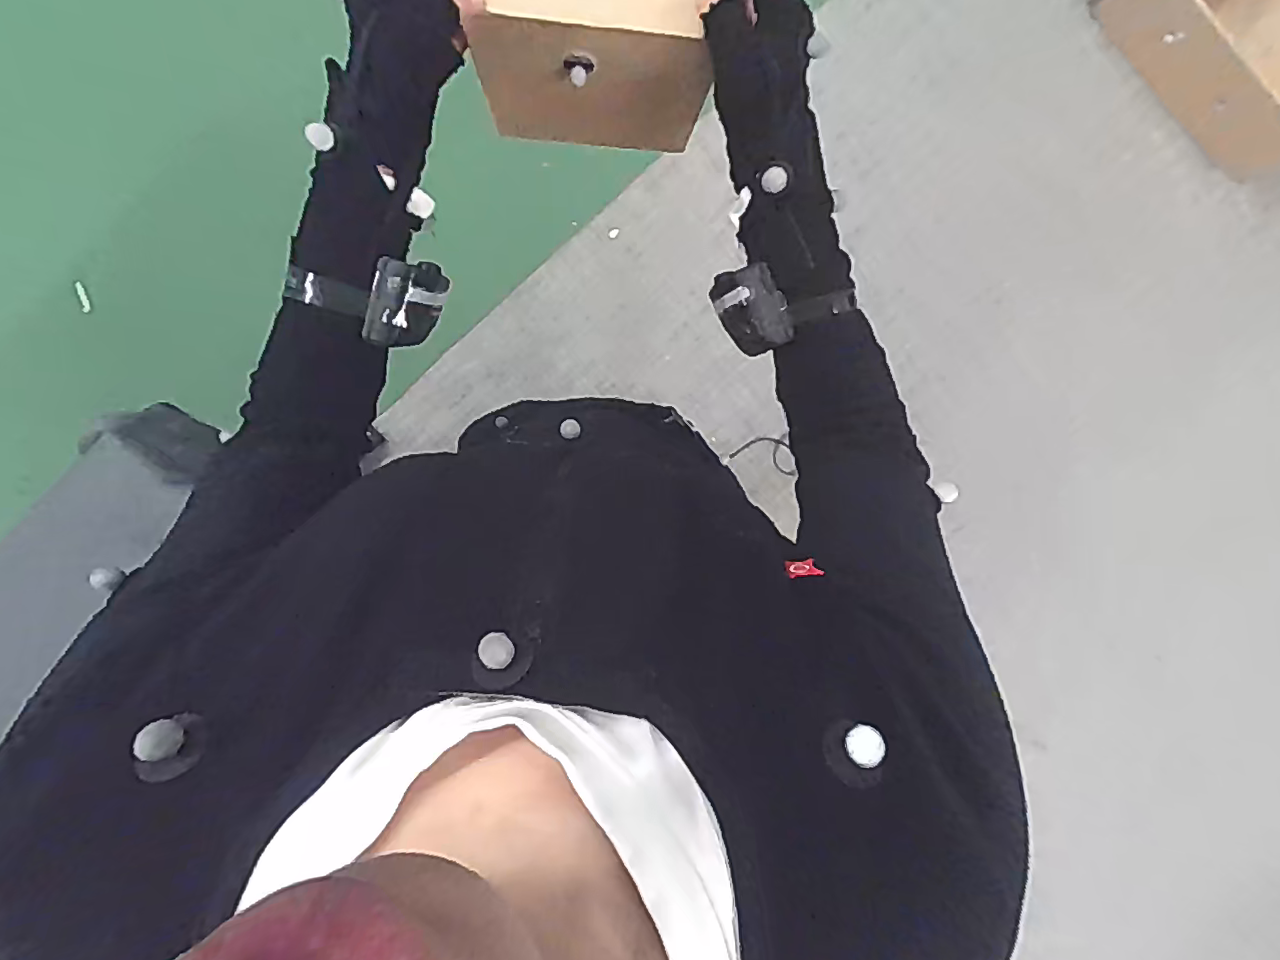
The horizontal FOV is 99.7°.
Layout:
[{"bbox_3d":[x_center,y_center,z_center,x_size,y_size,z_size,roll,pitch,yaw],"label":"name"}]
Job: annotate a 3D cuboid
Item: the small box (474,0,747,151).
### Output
[{"bbox_3d":[-0.021,-0.380,0.414,0.179,0.176,0.168,2,99,-7],"label":"small box"}]
